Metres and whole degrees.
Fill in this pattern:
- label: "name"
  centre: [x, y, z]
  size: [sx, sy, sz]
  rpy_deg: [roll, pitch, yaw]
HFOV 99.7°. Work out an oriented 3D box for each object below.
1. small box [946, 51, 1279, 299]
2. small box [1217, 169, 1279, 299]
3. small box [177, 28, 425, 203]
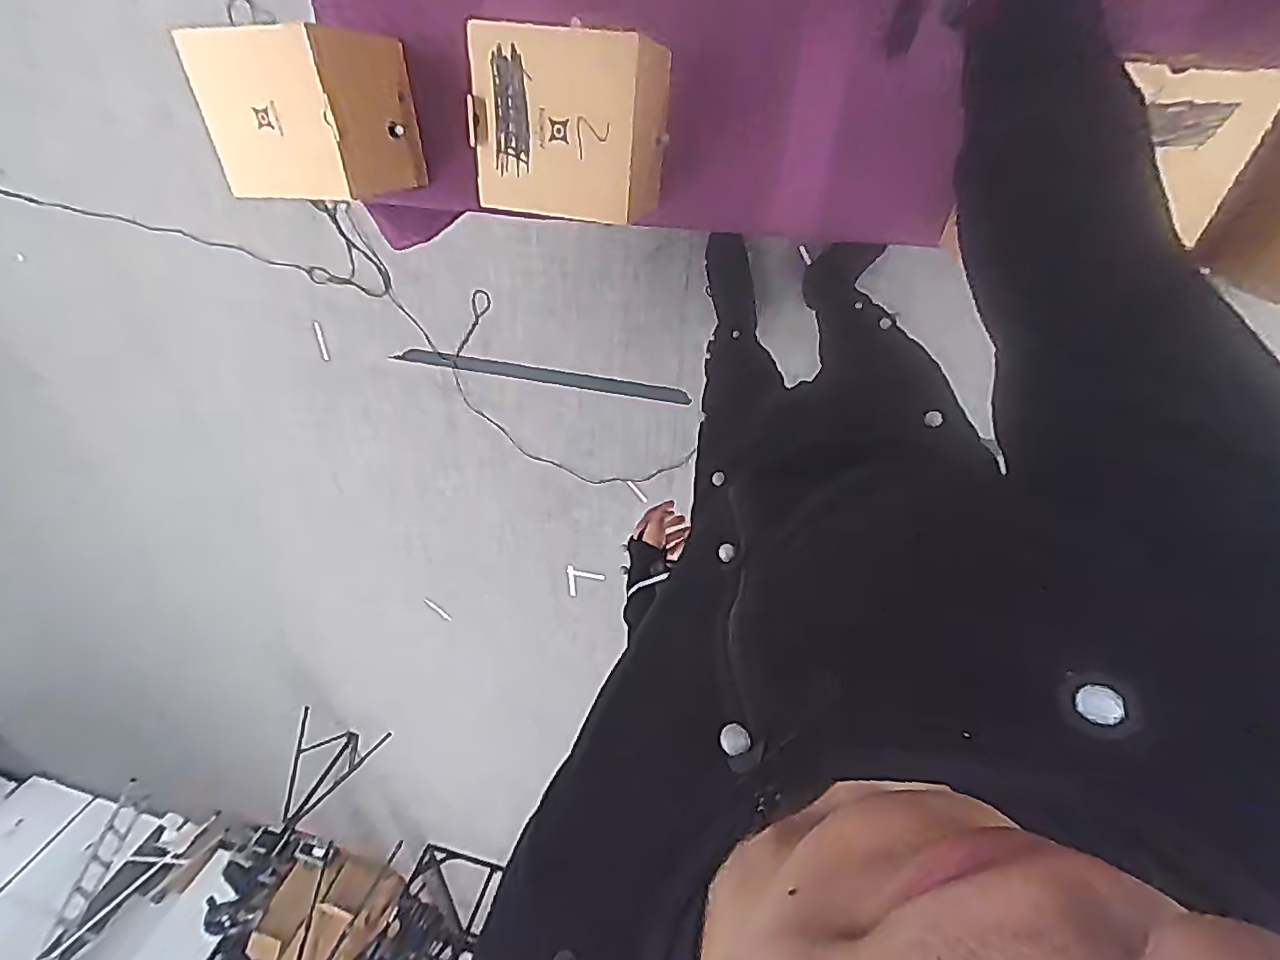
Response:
- label: "small box"
  centre: [0.431, -0.300, 0.535]
  size: [0.168, 0.176, 0.179]
  rpy_deg: [12, 126, 9]
- label: "small box"
  centre: [0.706, -0.243, 0.489]
  size: [0.168, 0.176, 0.179]
  rpy_deg: [13, 125, 9]
- label: "small box"
  centre: [-0.408, -0.451, 0.684]
  size: [0.179, 0.176, 0.168]
  rpy_deg: [6, 124, 11]
